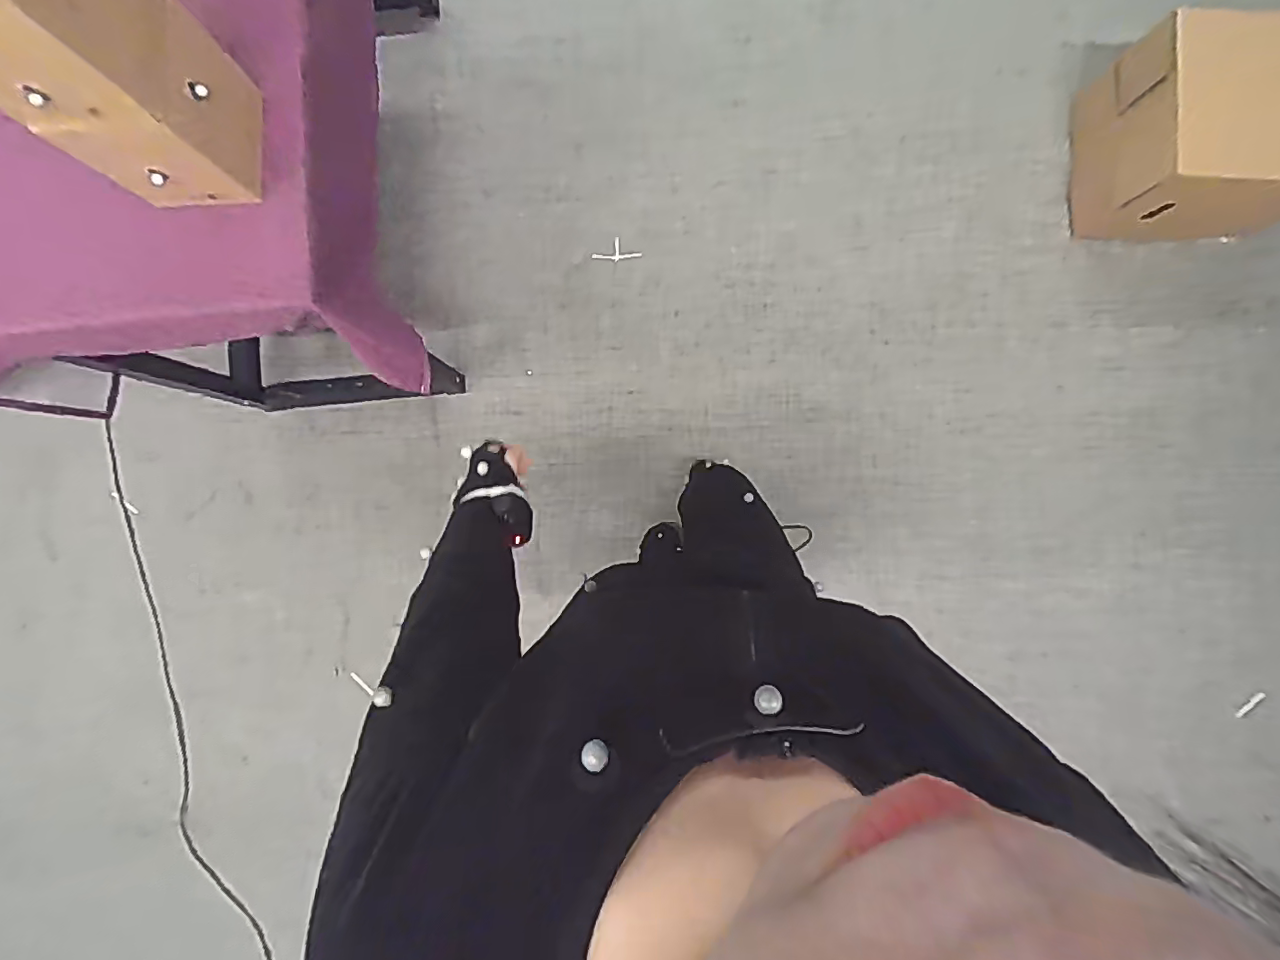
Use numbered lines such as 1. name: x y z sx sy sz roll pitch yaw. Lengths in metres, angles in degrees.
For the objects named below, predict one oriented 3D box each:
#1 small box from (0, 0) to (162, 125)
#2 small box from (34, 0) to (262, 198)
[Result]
1. small box: -0.656 -0.517 0.571 0.168 0.176 0.179 -2 89 1
2. small box: -0.651 -0.506 0.734 0.168 0.176 0.179 -2 88 1
